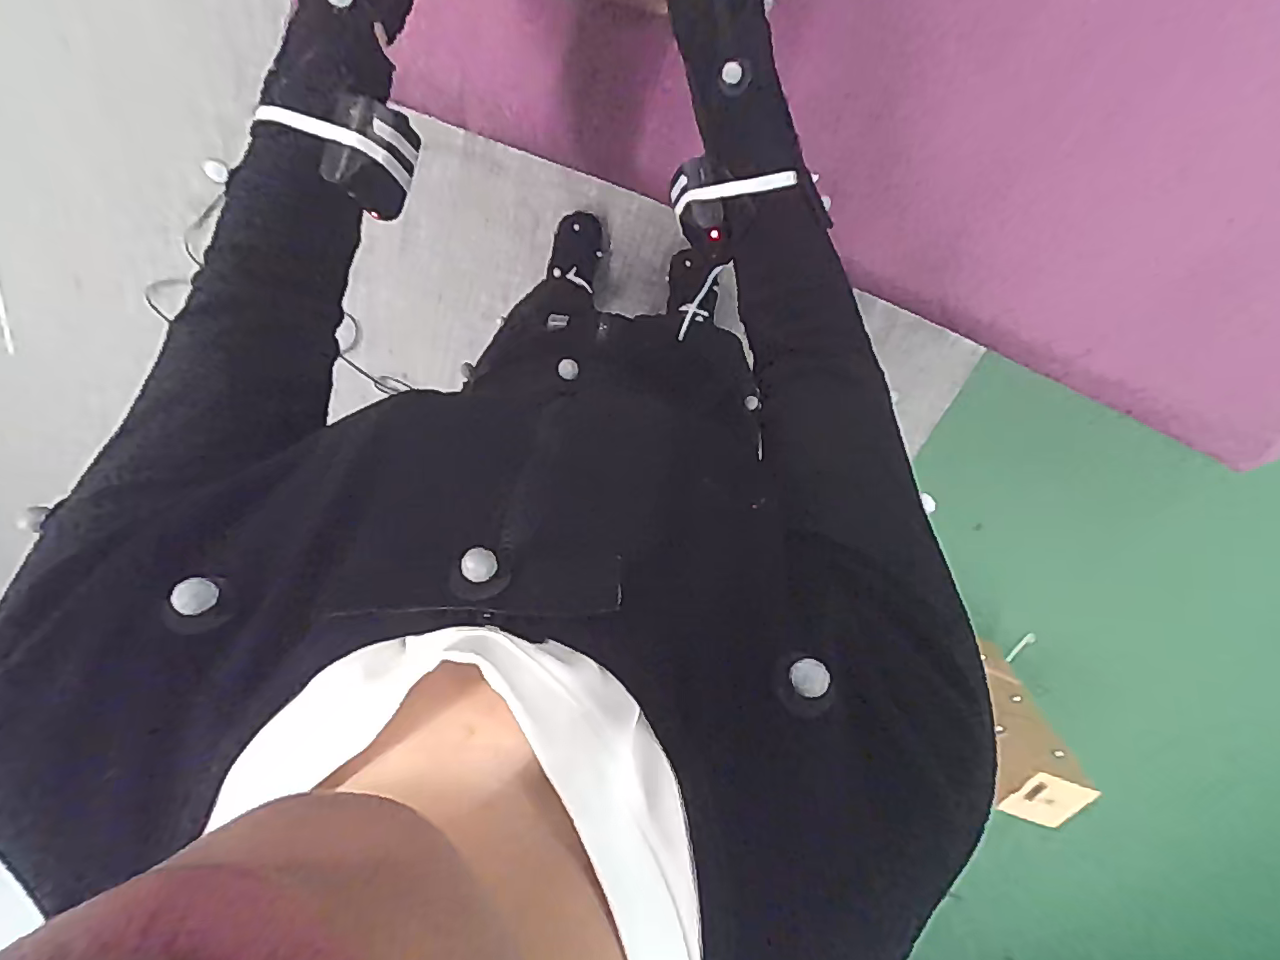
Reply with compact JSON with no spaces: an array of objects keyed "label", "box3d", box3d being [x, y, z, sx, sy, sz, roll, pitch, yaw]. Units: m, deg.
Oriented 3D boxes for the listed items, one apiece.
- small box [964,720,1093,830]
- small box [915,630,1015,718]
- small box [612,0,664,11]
[{"label":"small box","box3d":[0.990,0.755,1.398,0.179,0.176,0.168,21,117,-7]},{"label":"small box","box3d":[1.006,0.600,1.689,0.179,0.176,0.168,23,117,-5]},{"label":"small box","box3d":[-0.036,-0.492,0.393,0.168,0.176,0.179,14,120,-6]}]
